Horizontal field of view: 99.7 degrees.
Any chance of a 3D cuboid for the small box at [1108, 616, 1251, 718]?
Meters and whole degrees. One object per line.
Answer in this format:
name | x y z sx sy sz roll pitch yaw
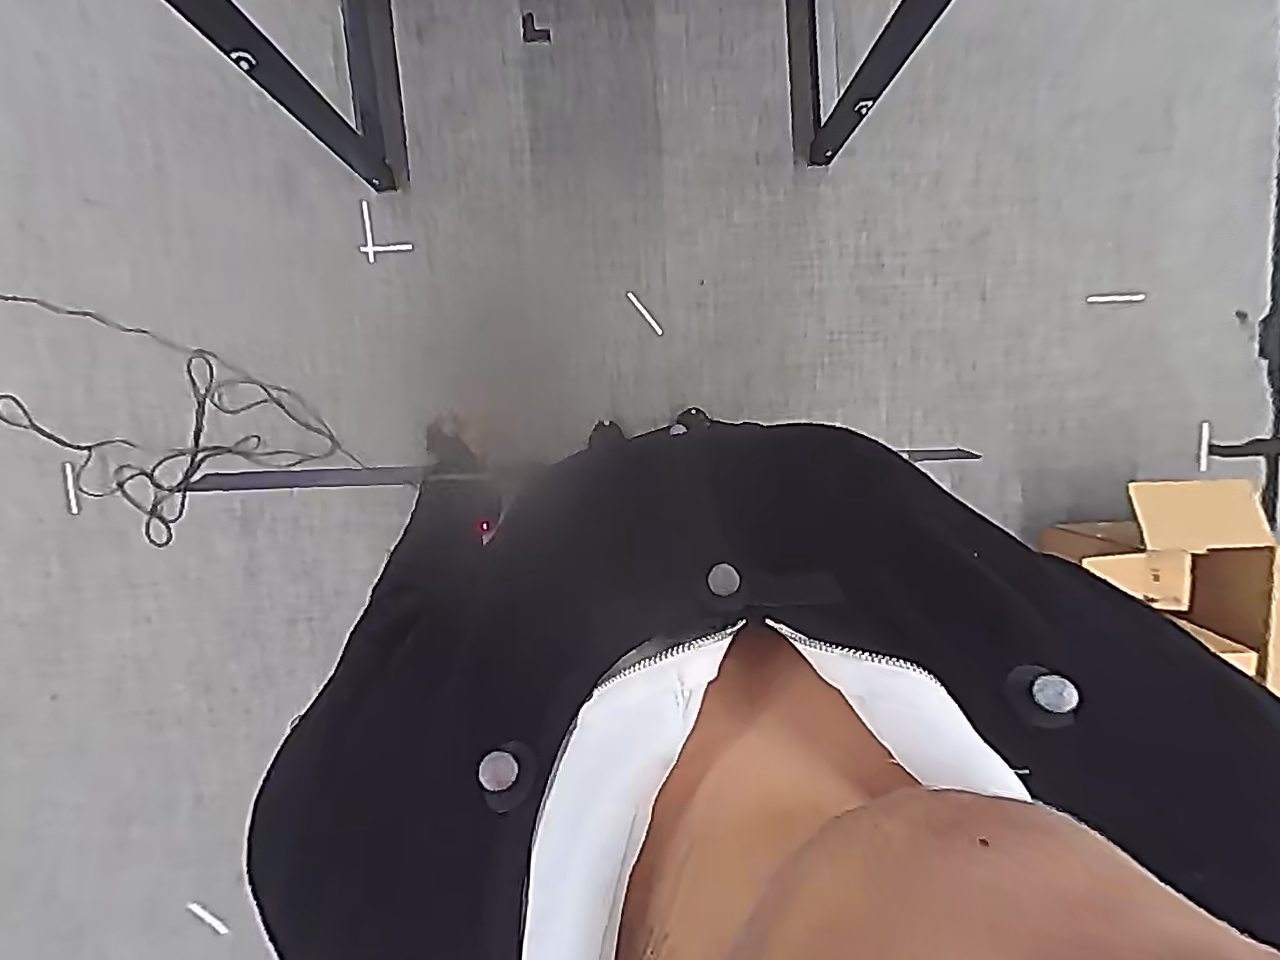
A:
small box | 1.279 0.443 1.297 0.168 0.176 0.179 -1 100 -2
